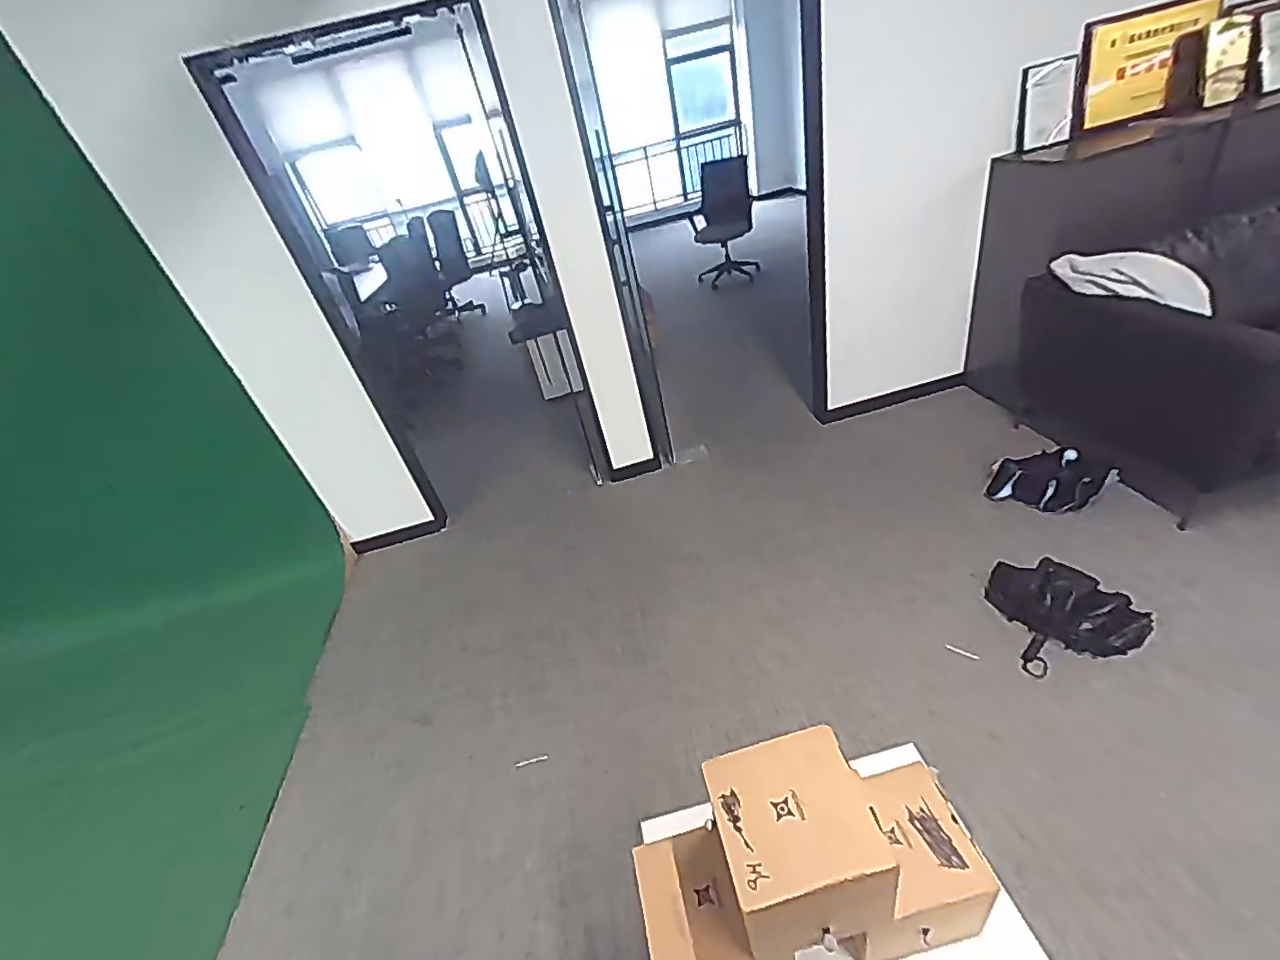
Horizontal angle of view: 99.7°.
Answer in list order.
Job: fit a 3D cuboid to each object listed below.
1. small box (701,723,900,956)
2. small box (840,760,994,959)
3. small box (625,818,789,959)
[{"bbox_3d":[0.184,0.436,0.661,0.179,0.176,0.168,-14,33,-3],"label":"small box"},{"bbox_3d":[0.347,0.534,0.759,0.179,0.176,0.168,-15,34,-3],"label":"small box"},{"bbox_3d":[0.090,0.600,0.743,0.179,0.176,0.168,-15,33,-5],"label":"small box"}]
